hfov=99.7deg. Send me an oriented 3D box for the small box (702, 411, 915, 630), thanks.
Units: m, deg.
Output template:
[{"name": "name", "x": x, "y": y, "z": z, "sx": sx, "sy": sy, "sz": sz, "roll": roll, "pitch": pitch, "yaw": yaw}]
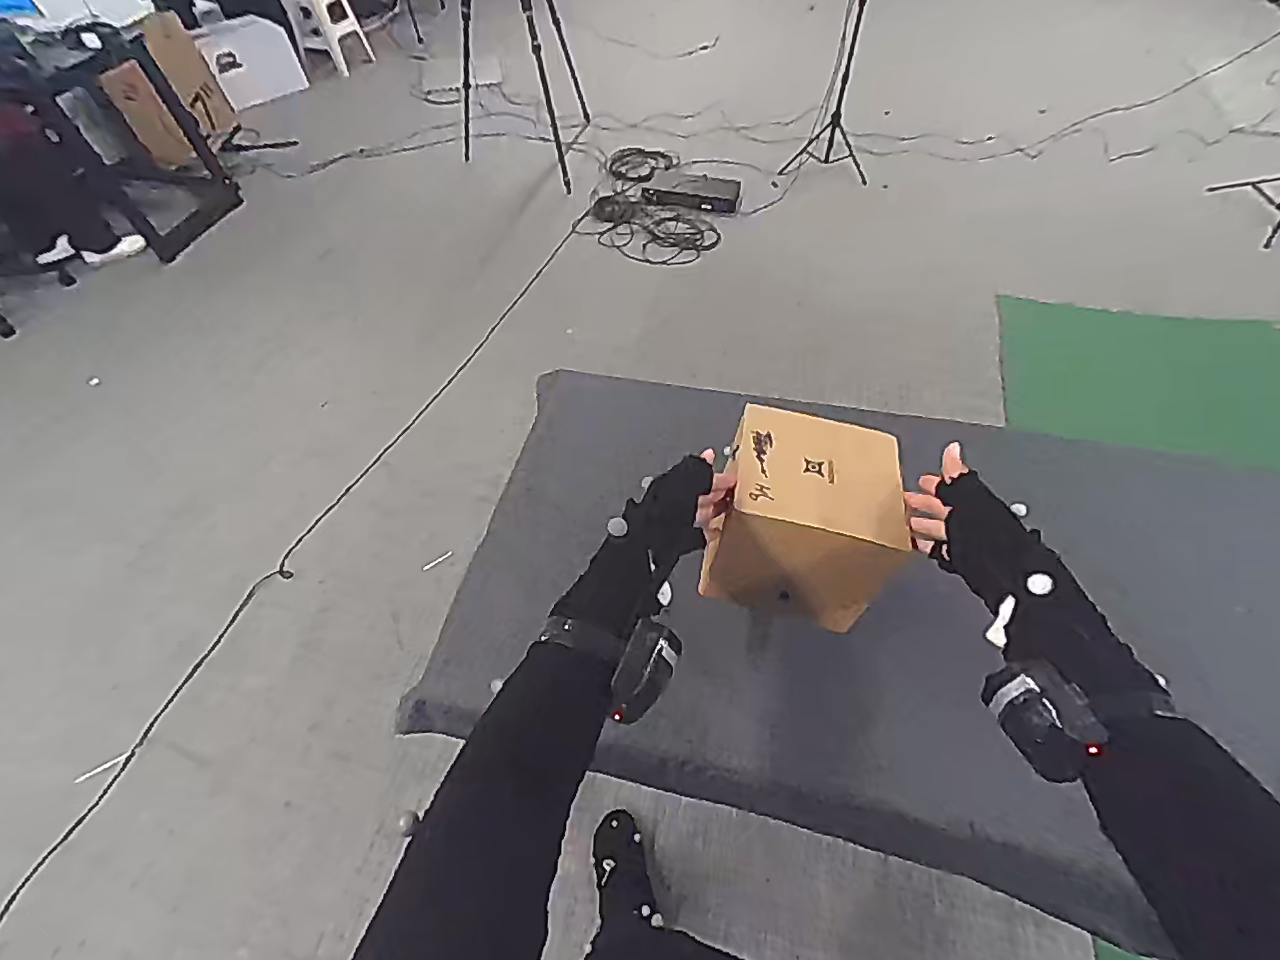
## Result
[{"name": "small box", "x": 0.184, "y": 0.052, "z": 0.626, "sx": 0.179, "sy": 0.176, "sz": 0.168, "roll": 15, "pitch": 48, "yaw": 3}]
